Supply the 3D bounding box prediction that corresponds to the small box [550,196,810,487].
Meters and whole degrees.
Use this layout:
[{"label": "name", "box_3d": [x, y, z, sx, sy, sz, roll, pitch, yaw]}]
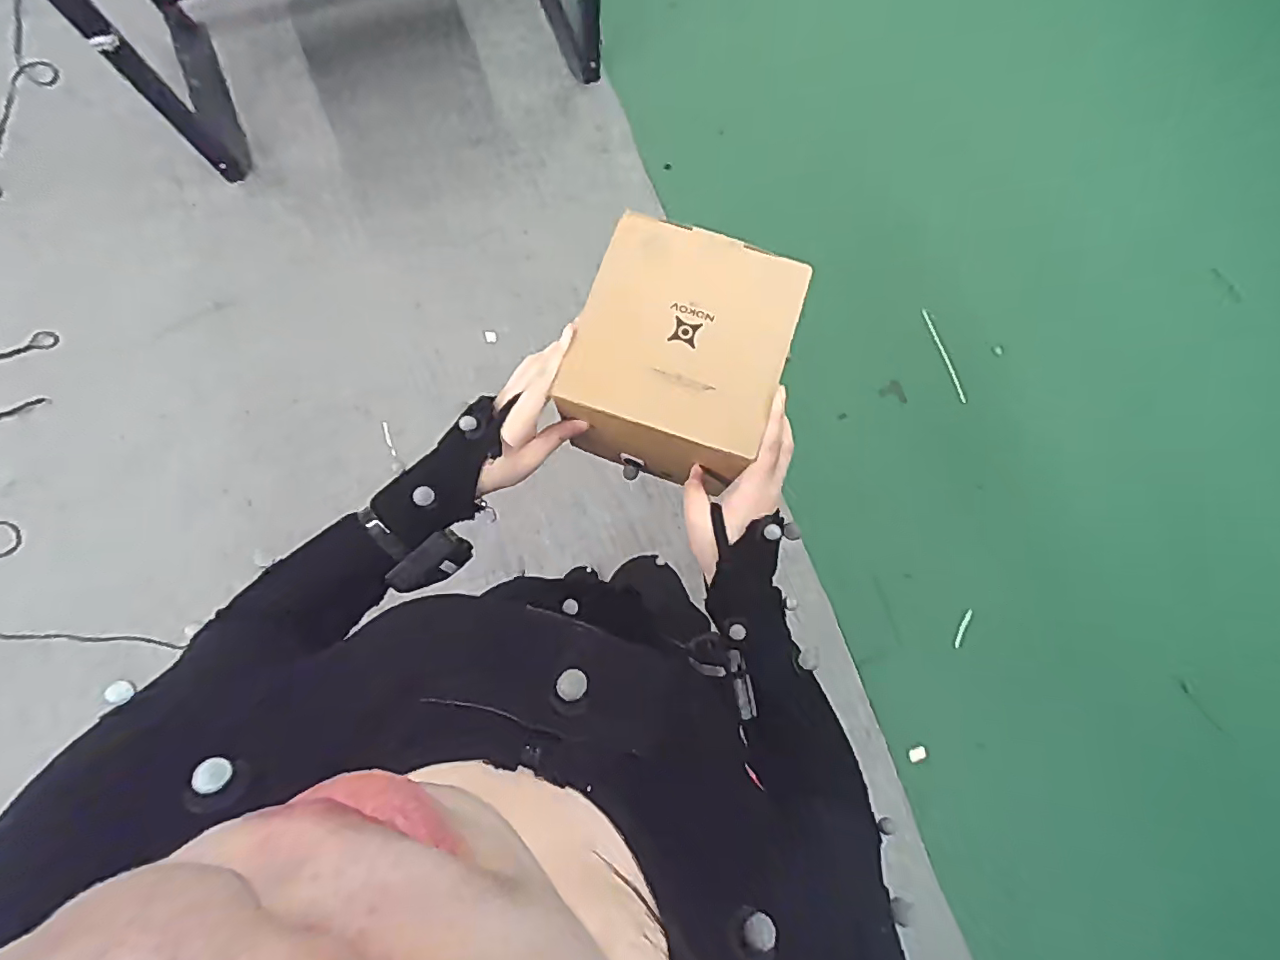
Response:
[{"label": "small box", "box_3d": [0.031, -0.110, 0.496, 0.168, 0.176, 0.179, 18, 79, 2]}]
